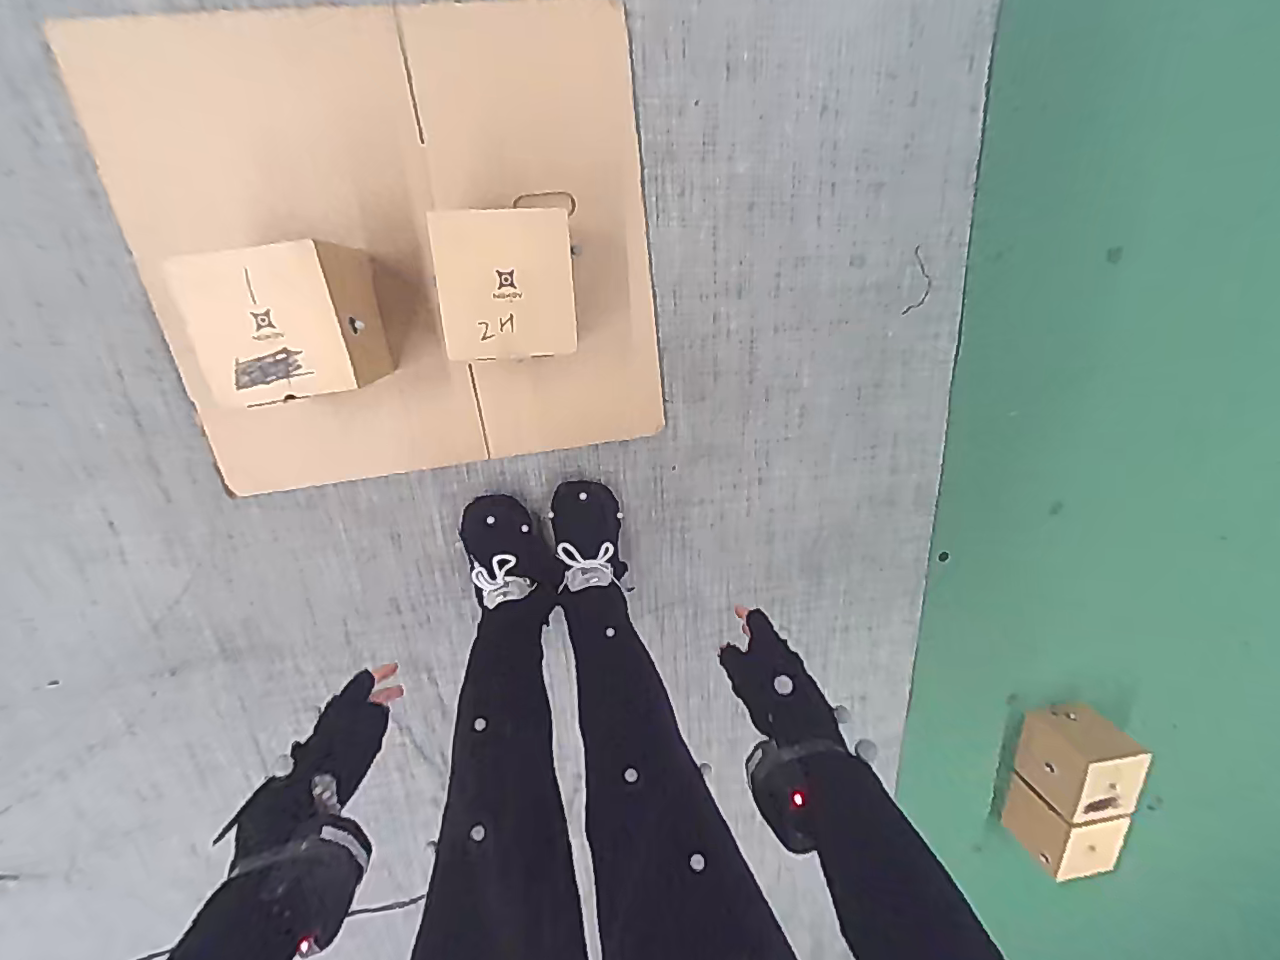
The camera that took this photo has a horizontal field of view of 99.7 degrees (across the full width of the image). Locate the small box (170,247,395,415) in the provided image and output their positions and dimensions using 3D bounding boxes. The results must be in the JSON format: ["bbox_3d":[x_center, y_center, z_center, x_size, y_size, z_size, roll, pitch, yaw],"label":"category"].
[{"bbox_3d":[-0.443,-0.197,0.710,0.168,0.176,0.179,-11,109,-6],"label":"small box"}]

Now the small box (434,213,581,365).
[{"bbox_3d":[-0.172,-0.257,0.741,0.168,0.176,0.179,-5,110,-7],"label":"small box"}]
